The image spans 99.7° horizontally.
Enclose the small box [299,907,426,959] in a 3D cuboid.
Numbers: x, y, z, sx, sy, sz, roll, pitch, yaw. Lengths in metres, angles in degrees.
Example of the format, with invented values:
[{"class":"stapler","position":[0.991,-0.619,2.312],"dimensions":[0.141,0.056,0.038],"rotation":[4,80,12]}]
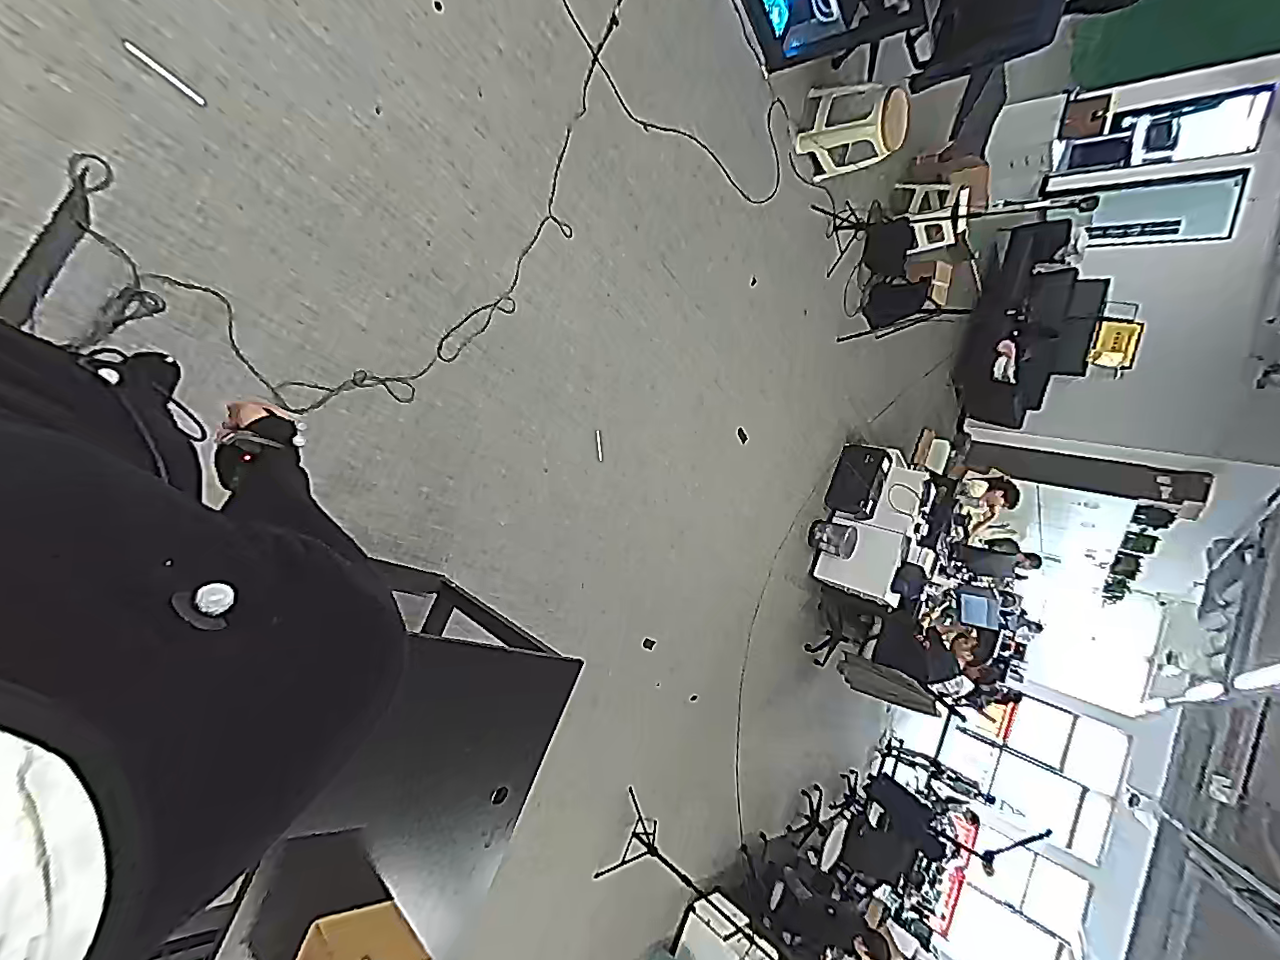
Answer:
[{"class":"small box","position":[-0.536,0.959,1.020],"dimensions":[0.179,0.176,0.168],"rotation":[31,78,-48]}]
